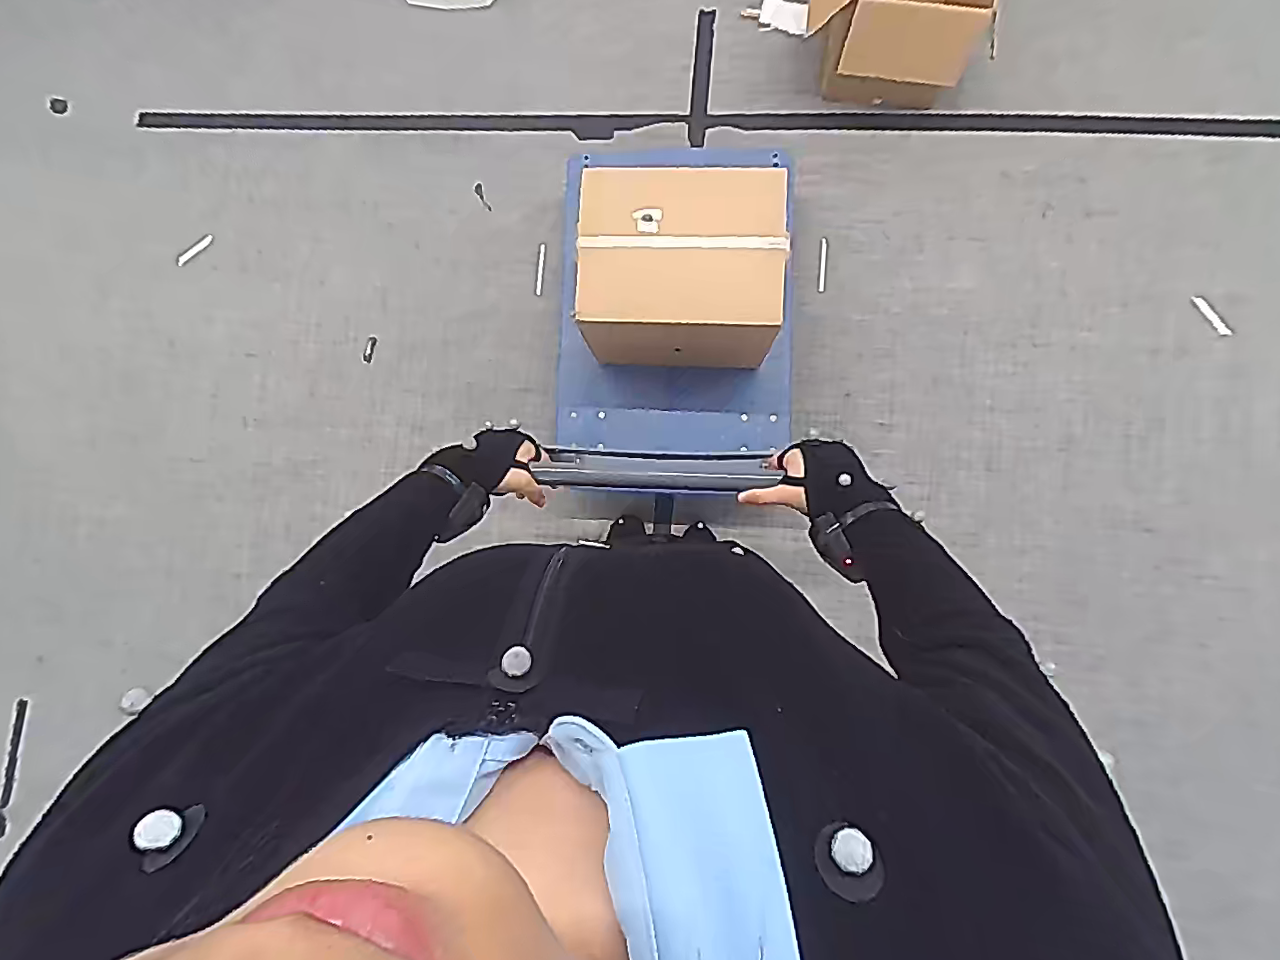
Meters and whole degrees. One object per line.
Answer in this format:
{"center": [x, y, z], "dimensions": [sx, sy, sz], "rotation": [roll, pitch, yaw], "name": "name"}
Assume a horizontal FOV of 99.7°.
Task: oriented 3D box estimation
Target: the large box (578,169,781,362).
{"center": [0.092, -0.456, 1.220], "dimensions": [0.408, 0.320, 0.320], "rotation": [2, 86, 5], "name": "large box"}
